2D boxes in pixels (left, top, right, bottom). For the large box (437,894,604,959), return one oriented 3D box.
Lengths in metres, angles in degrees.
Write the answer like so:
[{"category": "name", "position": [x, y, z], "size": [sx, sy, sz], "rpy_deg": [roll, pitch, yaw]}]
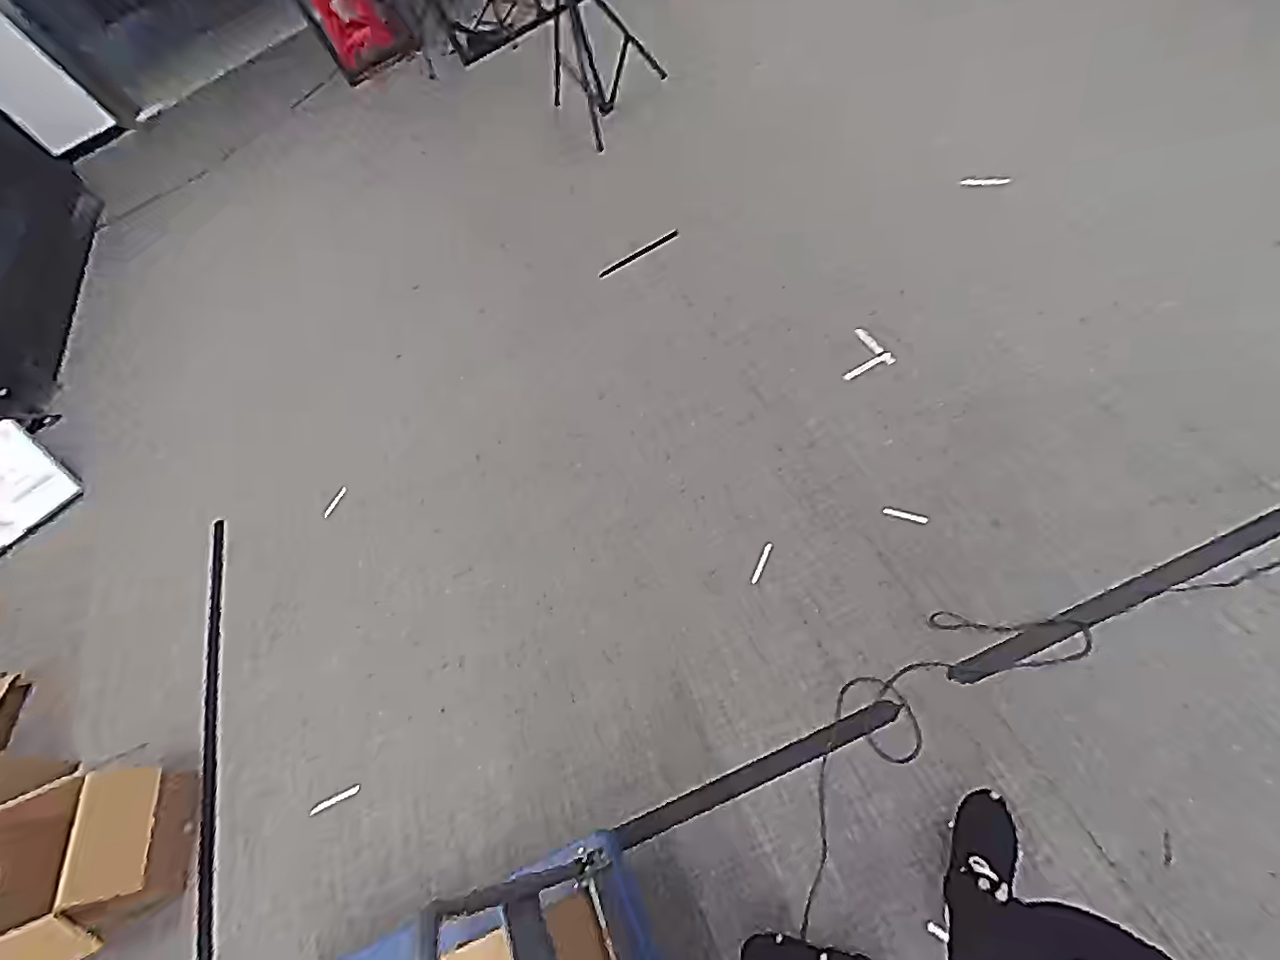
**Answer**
[{"category": "large box", "position": [-0.209, 0.985, 0.871], "size": [0.320, 0.320, 0.408], "rpy_deg": [-28, 57, 1]}]
